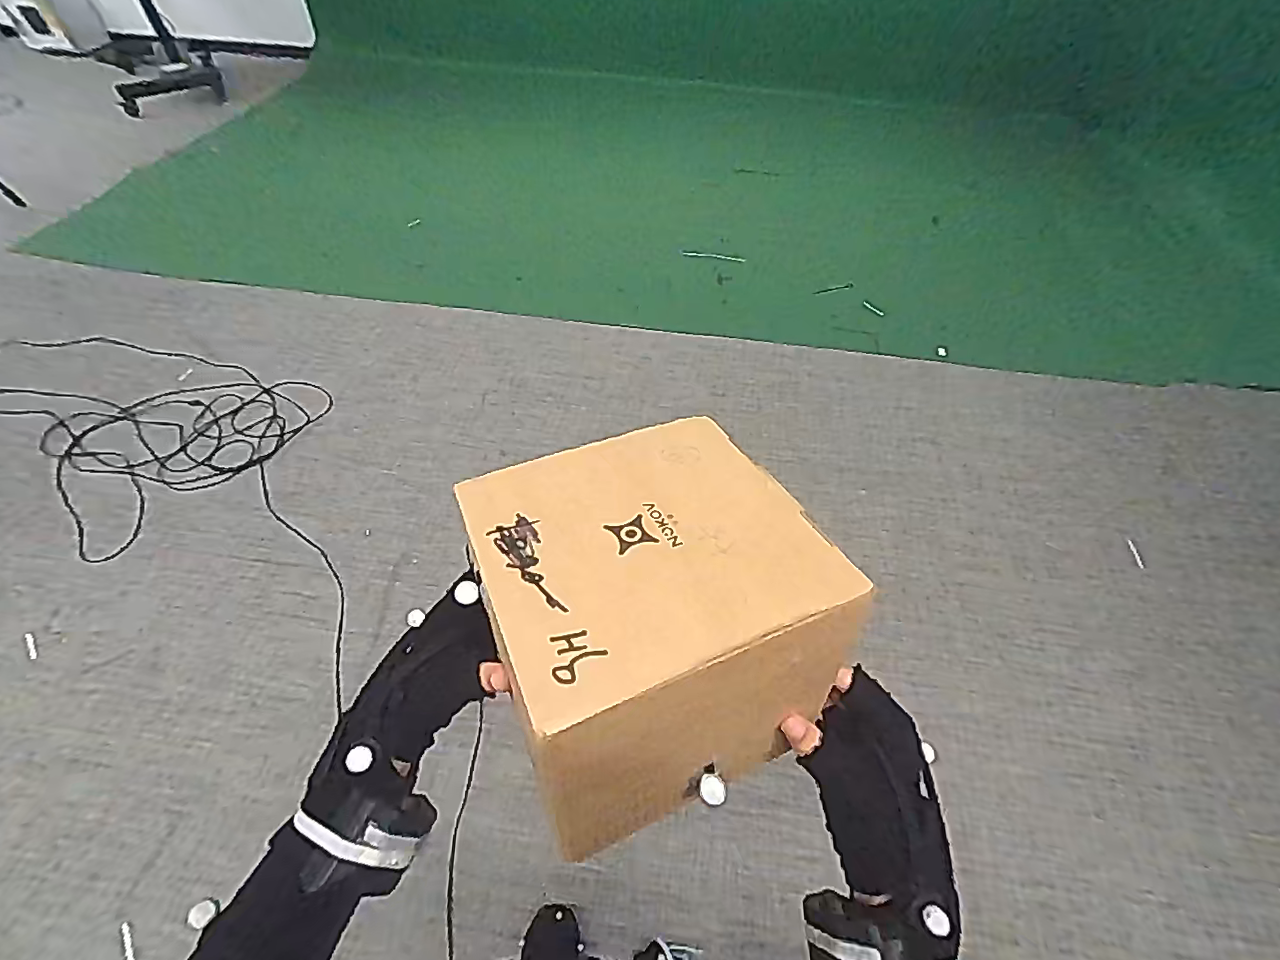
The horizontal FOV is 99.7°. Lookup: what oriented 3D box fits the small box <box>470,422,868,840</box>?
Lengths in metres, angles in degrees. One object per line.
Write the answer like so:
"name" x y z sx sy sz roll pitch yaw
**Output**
"small box" 0.005 0.090 0.353 0.179 0.176 0.168 -16 43 -20
